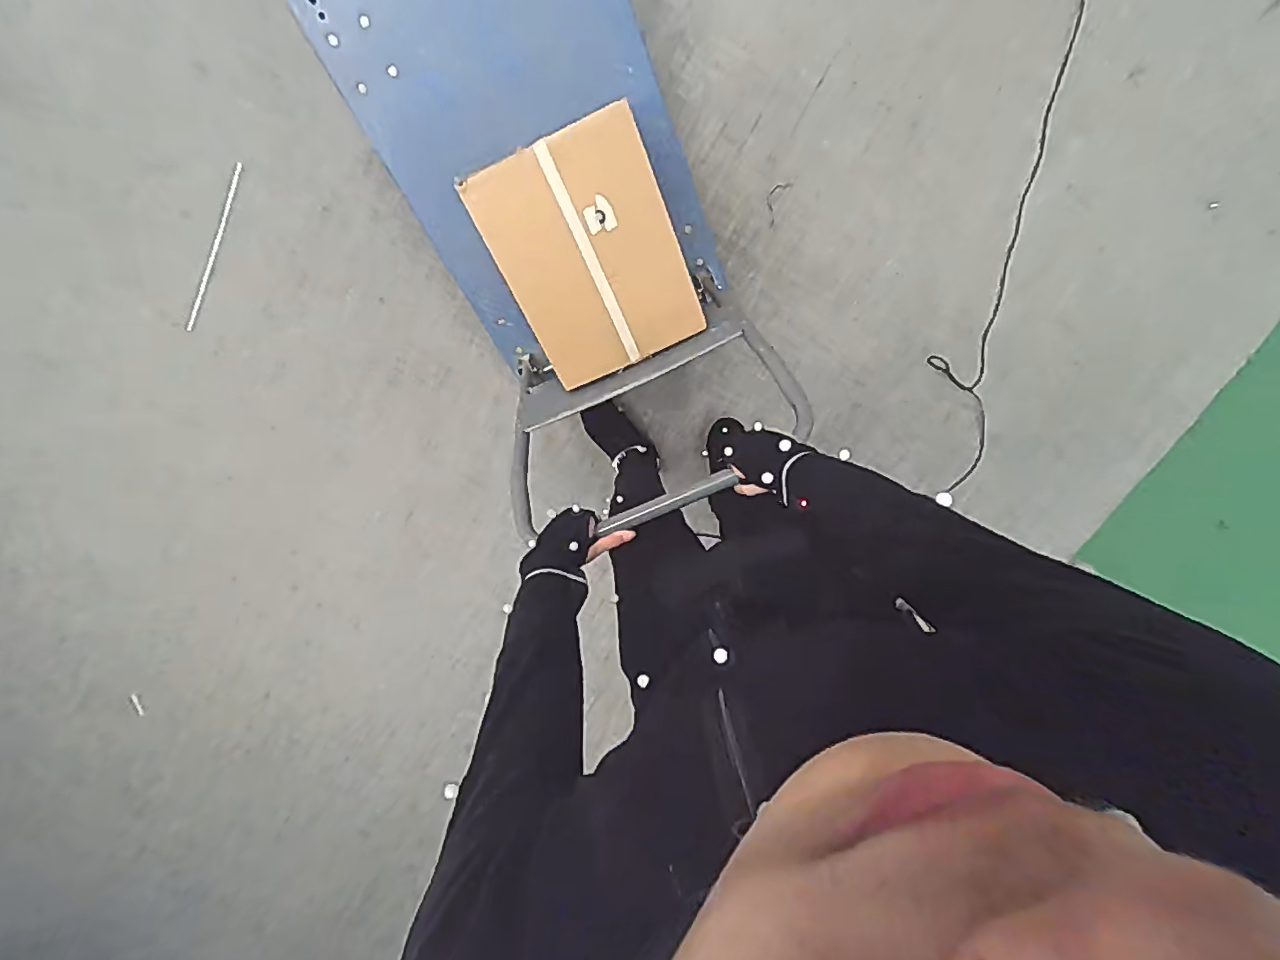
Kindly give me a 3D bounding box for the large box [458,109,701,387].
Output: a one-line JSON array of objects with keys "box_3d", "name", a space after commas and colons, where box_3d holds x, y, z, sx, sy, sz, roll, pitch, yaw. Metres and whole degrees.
[{"box_3d": [-0.105, -0.474, 1.123, 0.320, 0.320, 0.408, -23, 121, 7], "name": "large box"}]
